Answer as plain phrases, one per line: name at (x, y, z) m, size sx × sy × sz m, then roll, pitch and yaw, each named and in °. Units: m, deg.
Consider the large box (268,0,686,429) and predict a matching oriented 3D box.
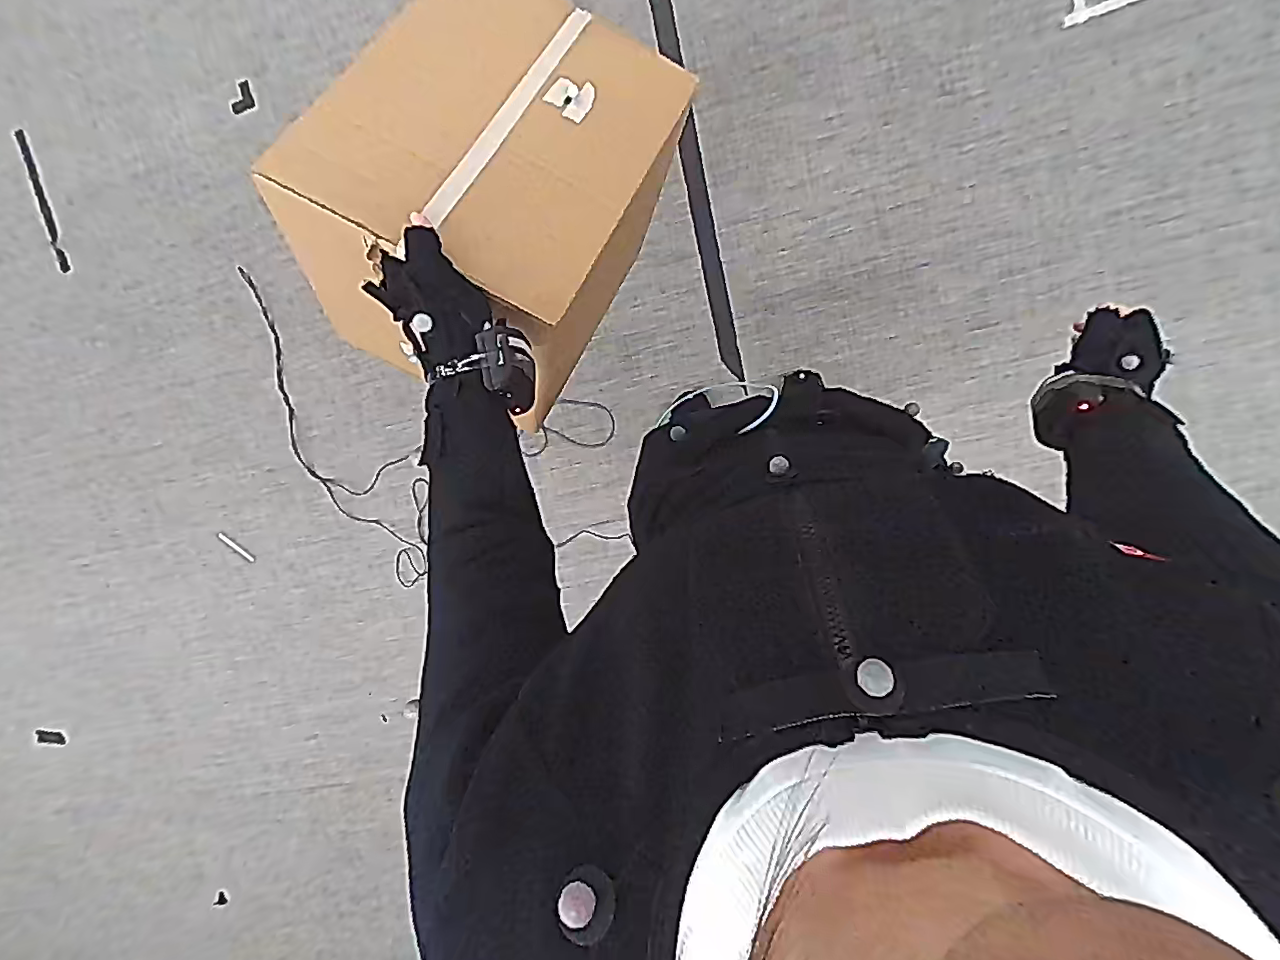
large box at (-0.183, -0.345, 0.732) m, size 0.320 × 0.320 × 0.408 m, roll 26°, pitch 69°, yaw -6°
